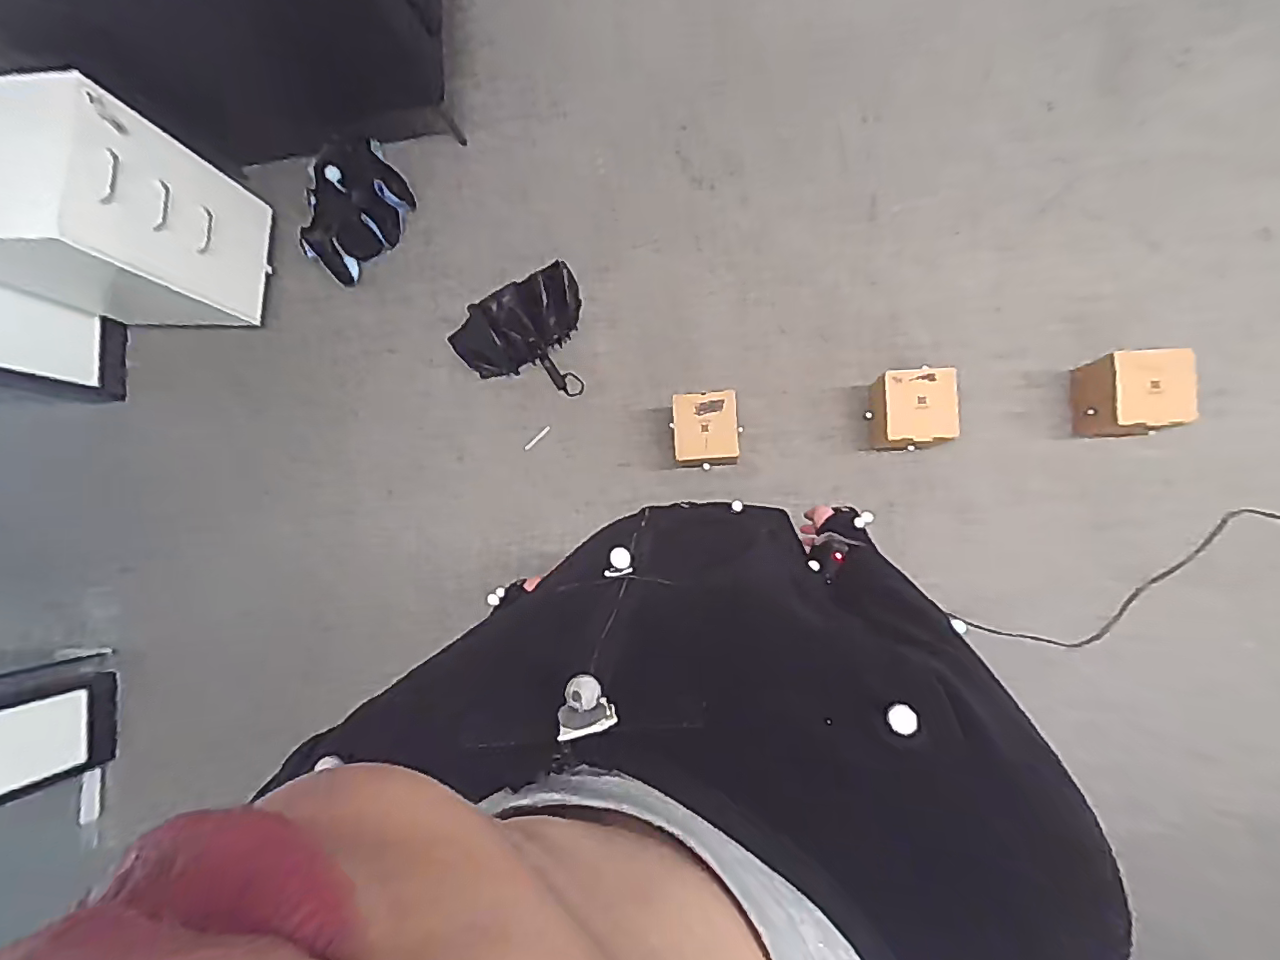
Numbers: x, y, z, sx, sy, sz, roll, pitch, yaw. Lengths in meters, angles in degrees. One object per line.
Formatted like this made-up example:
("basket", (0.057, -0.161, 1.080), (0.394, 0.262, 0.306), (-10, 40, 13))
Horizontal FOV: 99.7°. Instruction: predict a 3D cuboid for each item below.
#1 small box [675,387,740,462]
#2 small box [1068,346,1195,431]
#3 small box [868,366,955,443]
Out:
("small box", (0.187, -0.149, 1.493), (0.168, 0.176, 0.179), (-3, 87, 10))
("small box", (1.195, -0.216, 1.326), (0.168, 0.176, 0.179), (-1, 85, 9))
("small box", (0.702, -0.189, 1.409), (0.168, 0.176, 0.179), (0, 87, 10))
